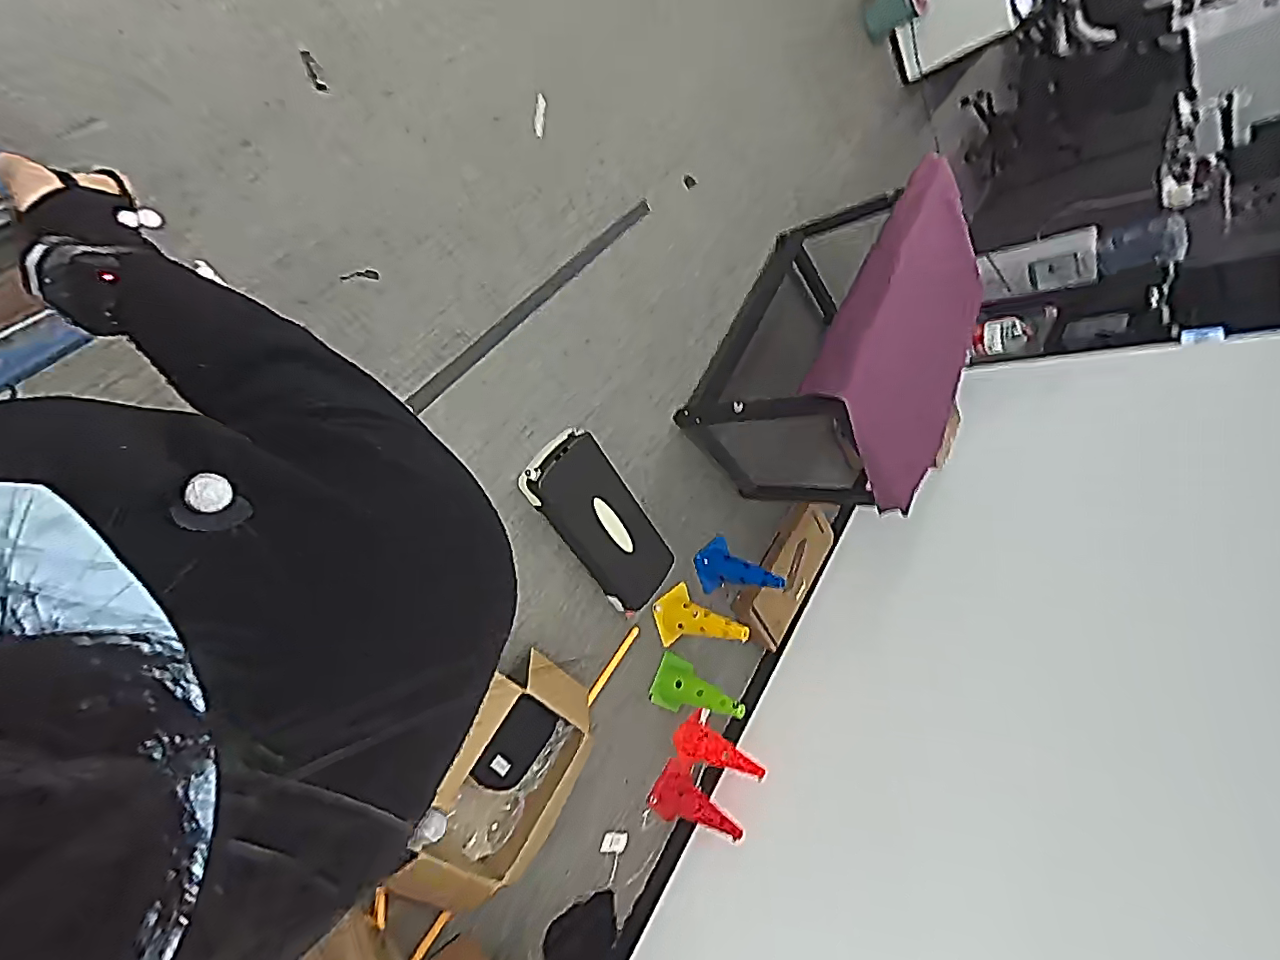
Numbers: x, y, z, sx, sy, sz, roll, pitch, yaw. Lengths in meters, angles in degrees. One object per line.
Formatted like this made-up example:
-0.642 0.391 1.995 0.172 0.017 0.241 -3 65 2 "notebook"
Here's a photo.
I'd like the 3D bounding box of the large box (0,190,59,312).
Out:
-1.076 -0.311 0.653 0.408 0.320 0.320 -51 123 -29 "large box"
